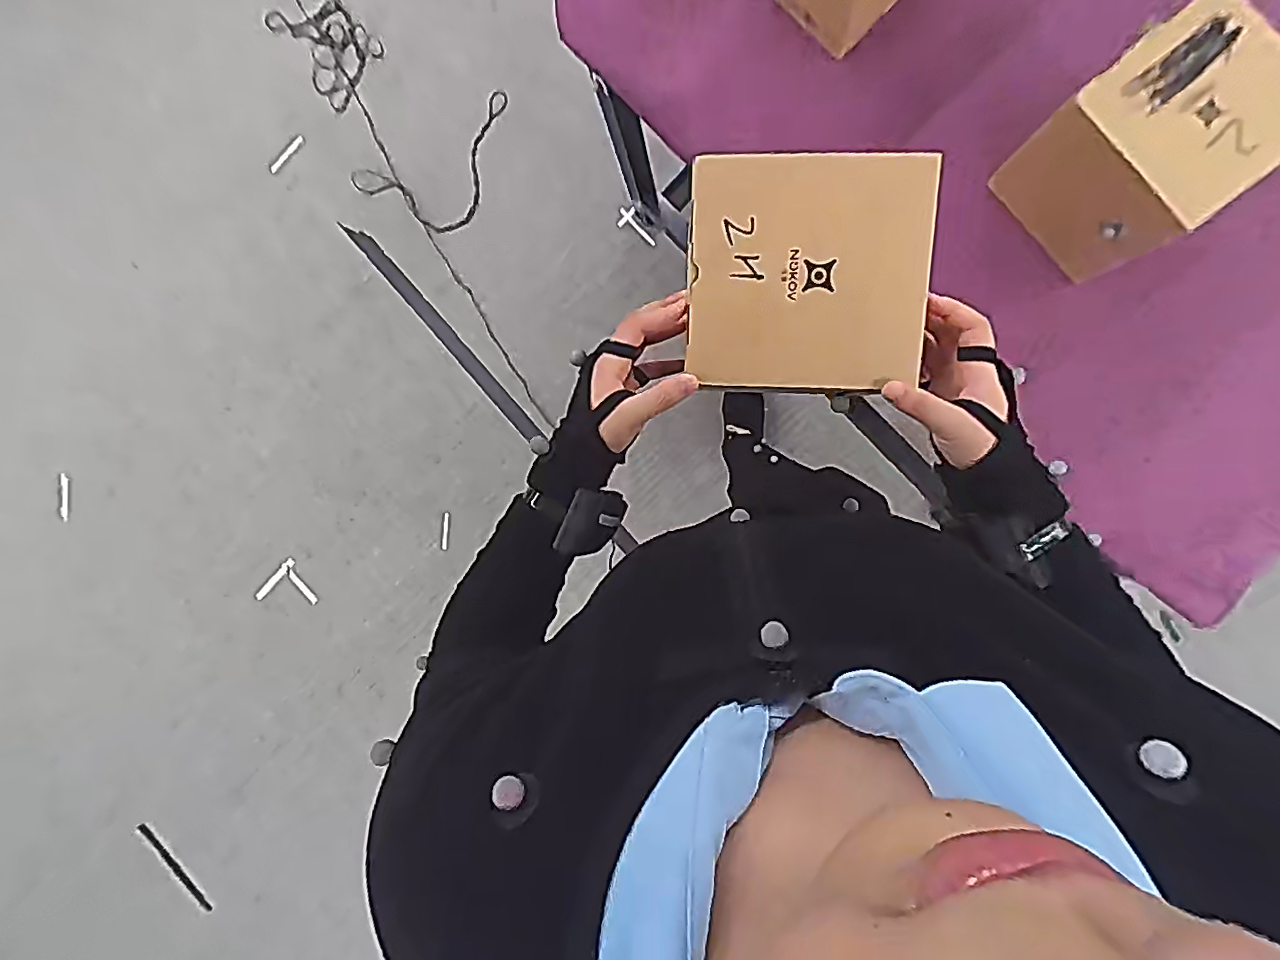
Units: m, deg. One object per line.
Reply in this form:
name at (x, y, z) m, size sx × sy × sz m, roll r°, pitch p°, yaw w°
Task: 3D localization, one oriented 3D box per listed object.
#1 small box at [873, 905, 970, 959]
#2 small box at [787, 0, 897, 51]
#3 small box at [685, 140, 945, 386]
small box at (0.710, 1.207, 1.320) m, size 0.179 × 0.176 × 0.168 m, roll 43°, pitch 96°, yaw 4°
small box at (0.257, -0.665, 0.625) m, size 0.179 × 0.176 × 0.168 m, roll -43°, pitch 87°, yaw 7°
small box at (0.131, -0.170, 0.473) m, size 0.179 × 0.176 × 0.168 m, roll 2°, pitch 98°, yaw 5°
